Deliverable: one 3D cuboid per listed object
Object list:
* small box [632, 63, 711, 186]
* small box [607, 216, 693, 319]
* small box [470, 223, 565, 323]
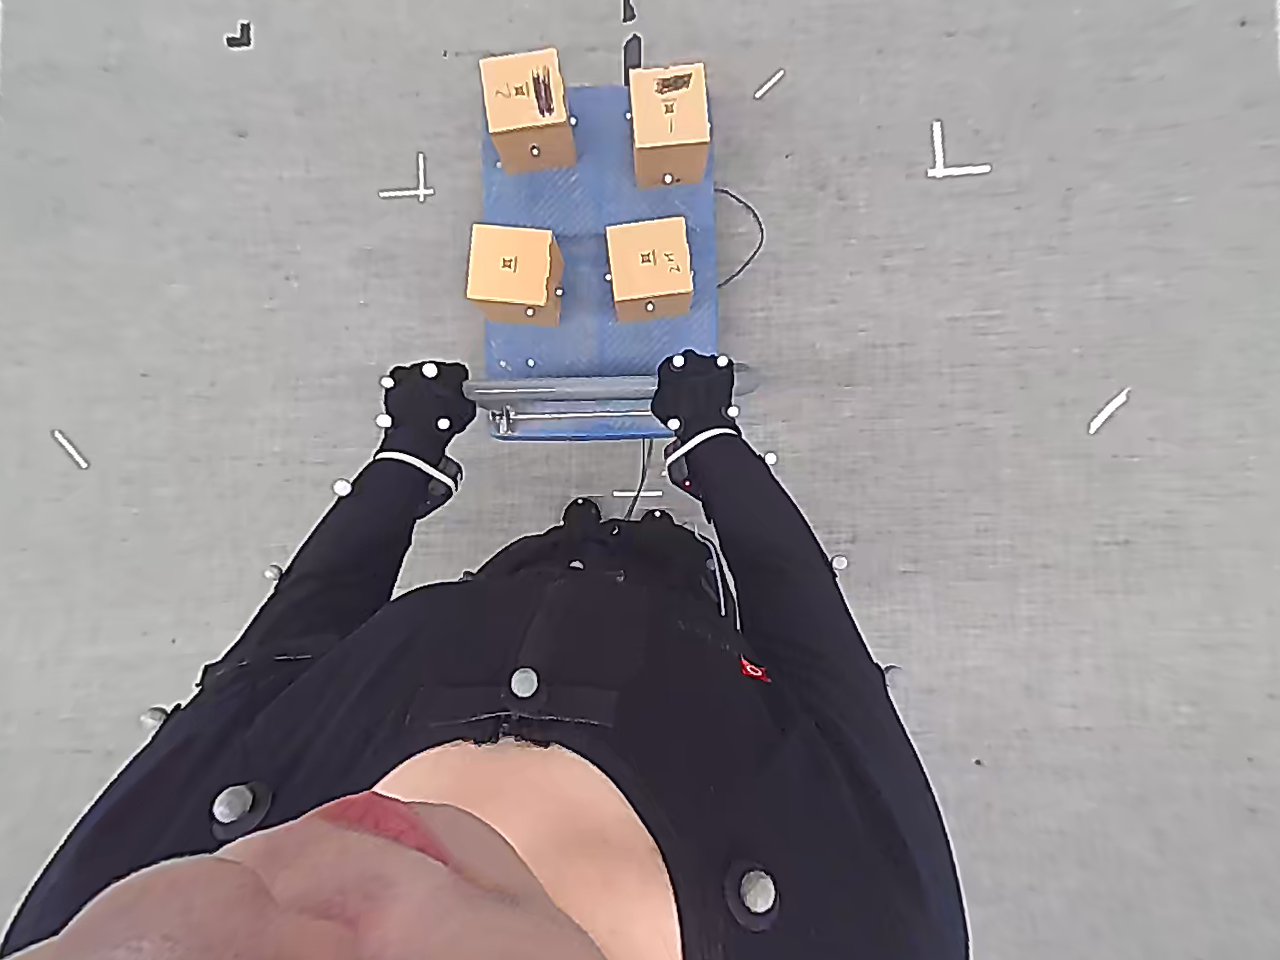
[{"bbox_3d":[0.068,-0.820,1.262,0.168,0.176,0.179,-5,90,1],"label":"small box"},{"bbox_3d":[0.025,-0.485,1.259,0.179,0.176,0.168,-7,89,1],"label":"small box"},{"bbox_3d":[-0.280,-0.475,1.264,0.179,0.176,0.168,5,89,-1],"label":"small box"}]
